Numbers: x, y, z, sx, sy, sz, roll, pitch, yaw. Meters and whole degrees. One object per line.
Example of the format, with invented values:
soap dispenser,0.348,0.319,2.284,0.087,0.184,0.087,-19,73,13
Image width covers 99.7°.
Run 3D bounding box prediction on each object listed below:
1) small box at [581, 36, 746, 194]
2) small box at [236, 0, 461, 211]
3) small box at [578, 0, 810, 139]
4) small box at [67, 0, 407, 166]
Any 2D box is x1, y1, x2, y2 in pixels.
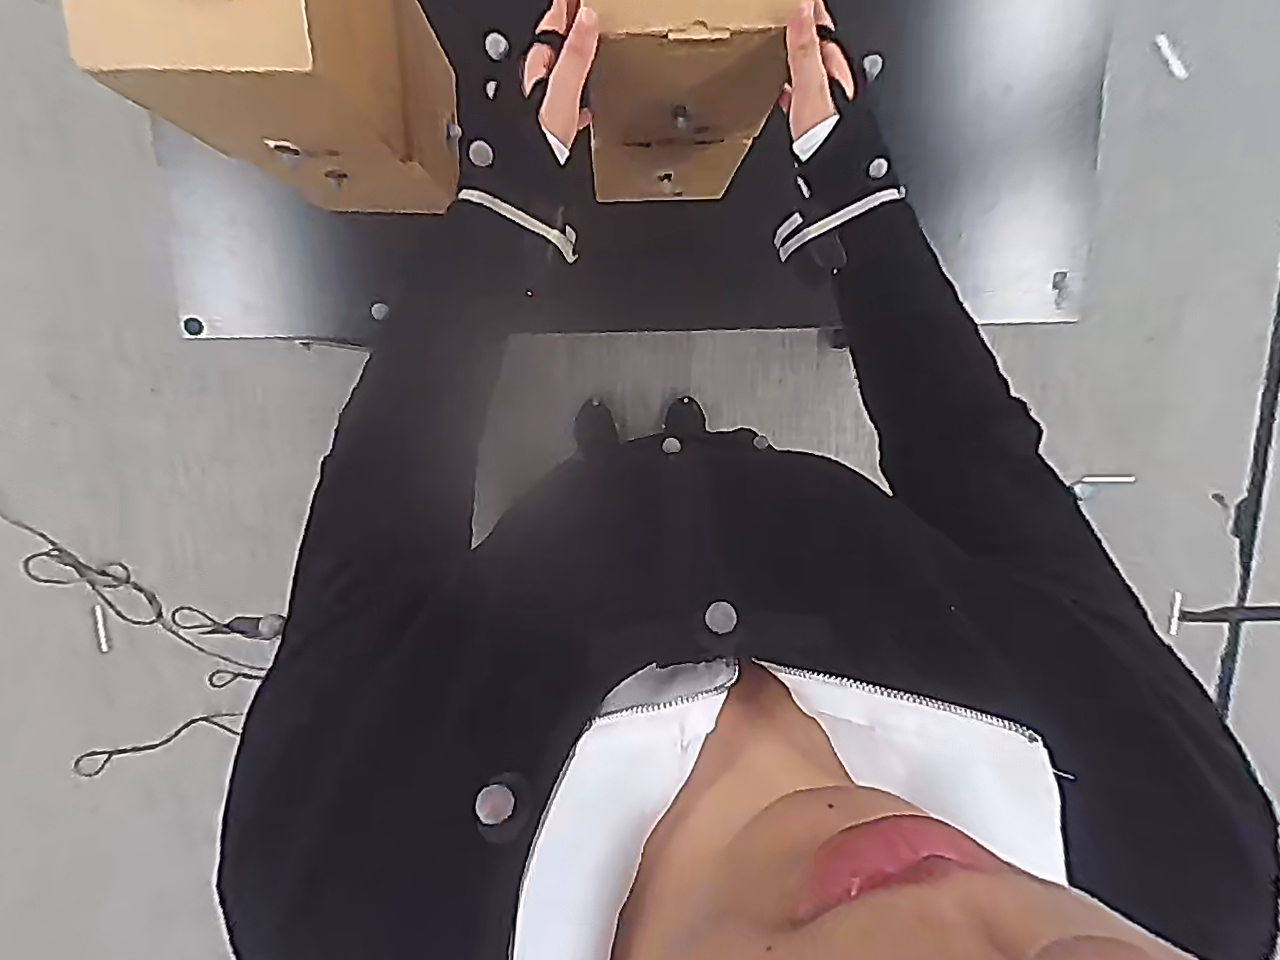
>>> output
small box,0.023,-0.439,0.612,0.168,0.176,0.179,-3,100,-2
small box,-0.313,-0.412,0.600,0.179,0.176,0.168,-1,99,-3
small box,0.032,-0.416,0.446,0.168,0.176,0.179,-3,99,-1
small box,-0.308,-0.385,0.440,0.168,0.176,0.179,-1,100,-1
